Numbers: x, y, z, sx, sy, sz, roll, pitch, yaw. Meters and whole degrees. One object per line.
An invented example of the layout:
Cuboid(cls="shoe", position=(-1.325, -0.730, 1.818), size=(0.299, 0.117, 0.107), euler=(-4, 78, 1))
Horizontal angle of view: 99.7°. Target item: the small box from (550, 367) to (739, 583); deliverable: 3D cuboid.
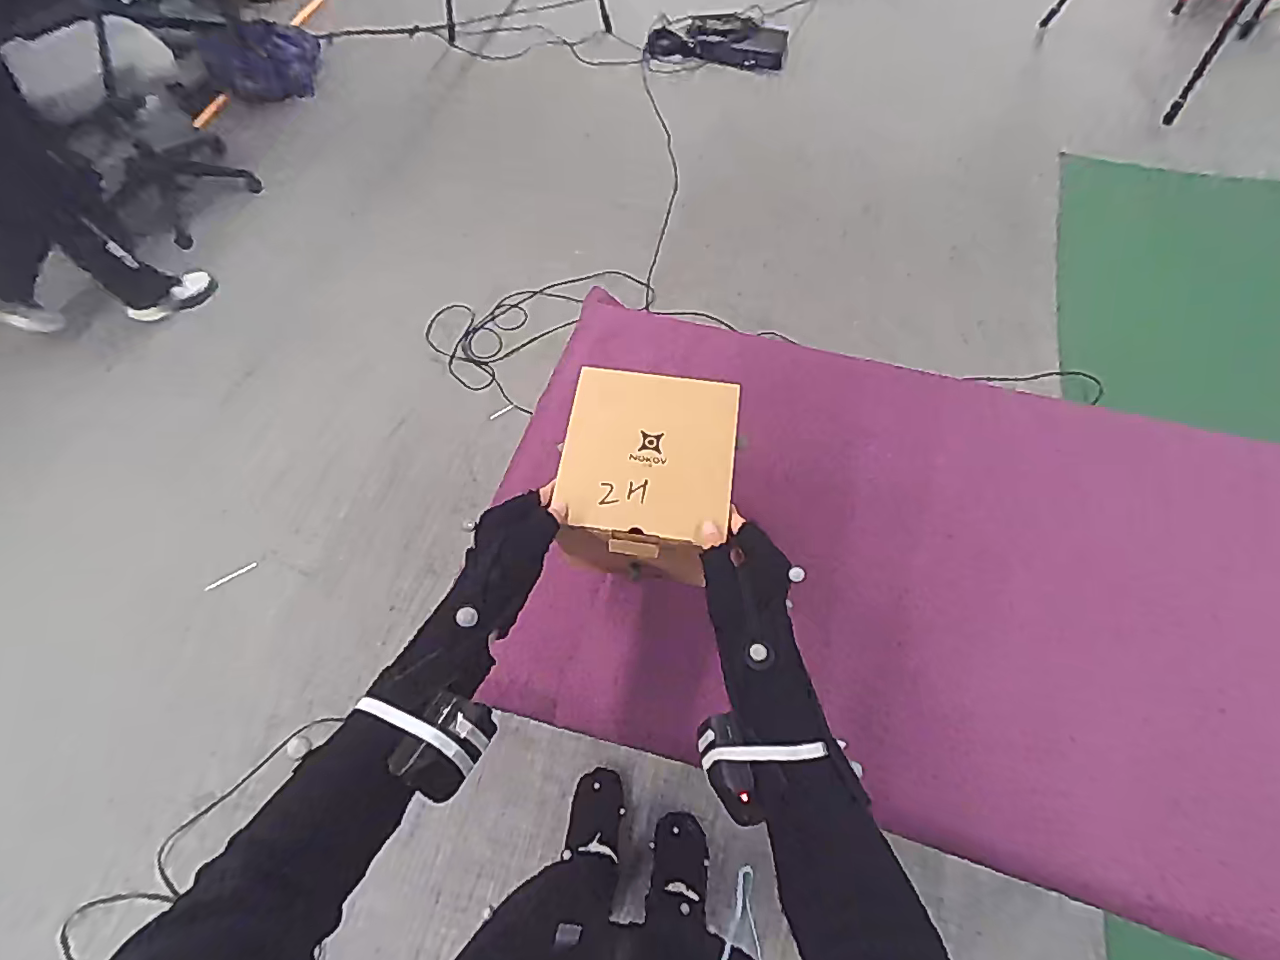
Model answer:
Cuboid(cls="small box", position=(0.010, 0.002, 0.602), size=(0.168, 0.176, 0.179), euler=(8, 68, 5))
